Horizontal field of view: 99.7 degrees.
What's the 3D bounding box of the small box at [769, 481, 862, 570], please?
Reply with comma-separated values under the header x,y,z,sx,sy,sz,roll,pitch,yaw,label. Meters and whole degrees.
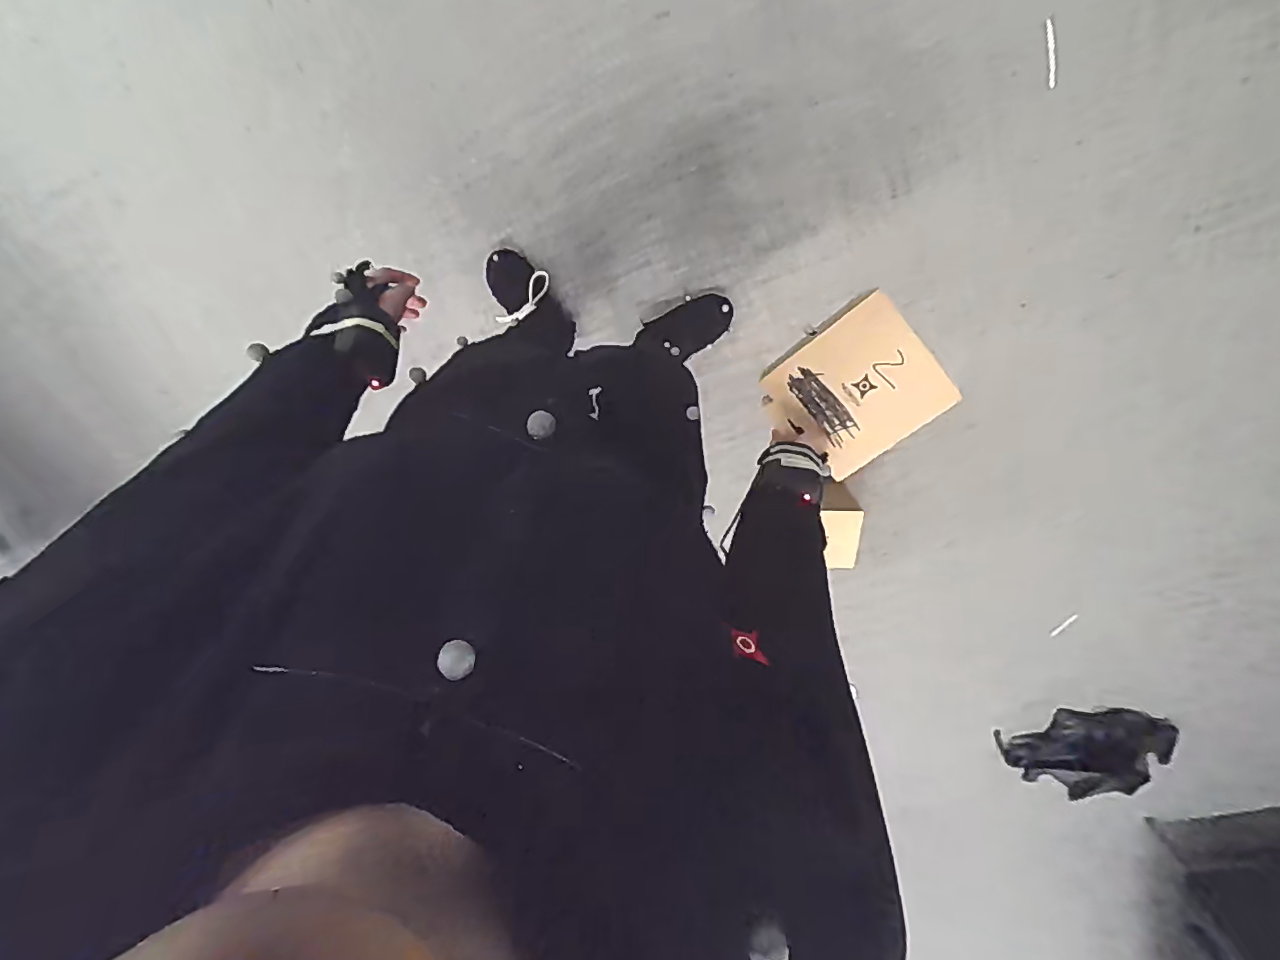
x,y,z,sx,sy,sz,roll,pitch,yaw,label
0.435,0.110,1.368,0.179,0.176,0.168,1,116,3,small box
